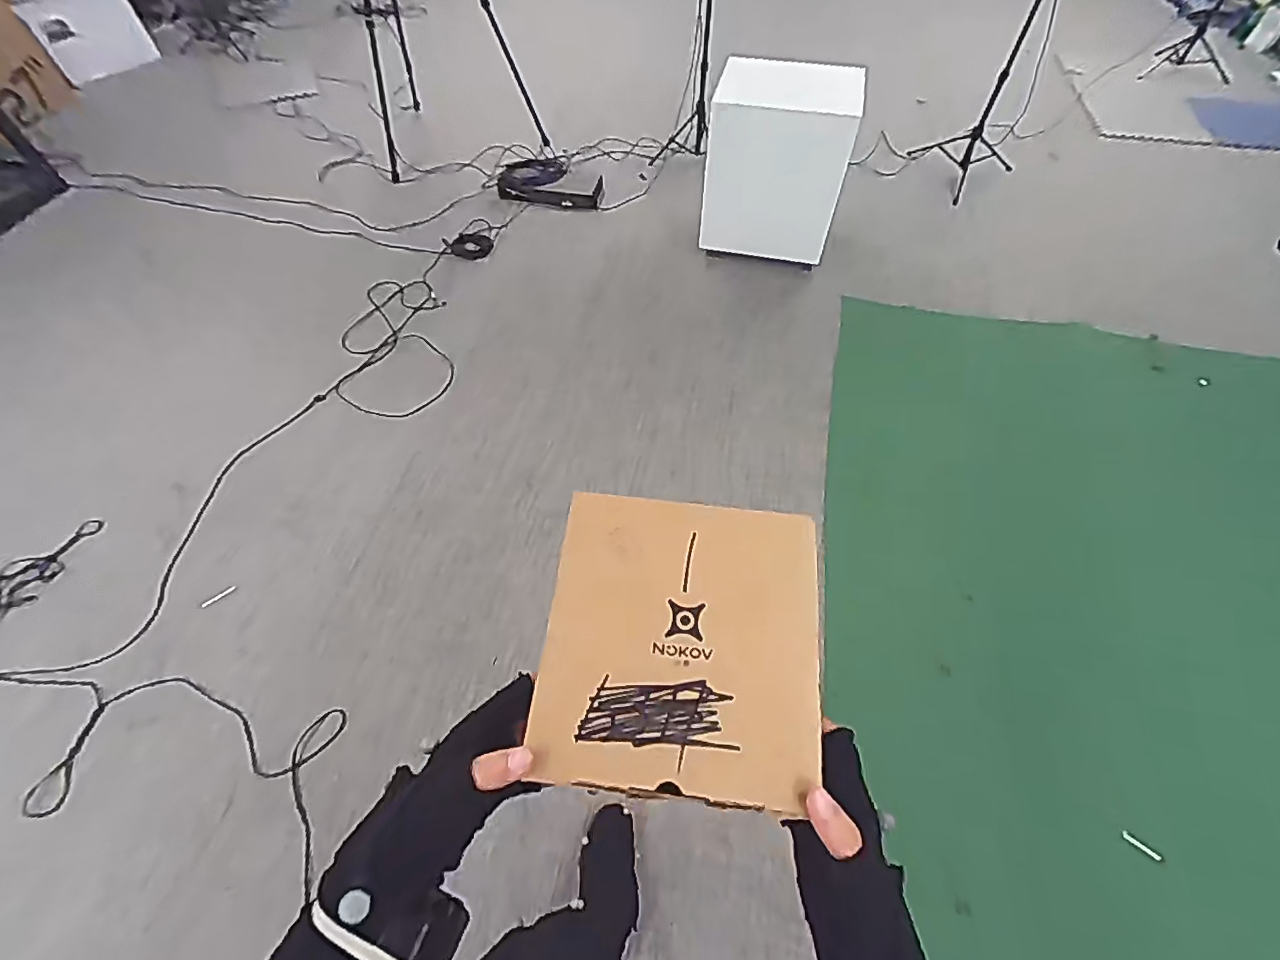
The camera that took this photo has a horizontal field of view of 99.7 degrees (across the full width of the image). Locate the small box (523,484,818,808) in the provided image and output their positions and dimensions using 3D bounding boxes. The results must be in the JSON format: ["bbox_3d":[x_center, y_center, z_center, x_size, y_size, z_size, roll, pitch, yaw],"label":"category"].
[{"bbox_3d":[0.027,0.123,0.400,0.168,0.176,0.179,6,63,3],"label":"small box"}]
